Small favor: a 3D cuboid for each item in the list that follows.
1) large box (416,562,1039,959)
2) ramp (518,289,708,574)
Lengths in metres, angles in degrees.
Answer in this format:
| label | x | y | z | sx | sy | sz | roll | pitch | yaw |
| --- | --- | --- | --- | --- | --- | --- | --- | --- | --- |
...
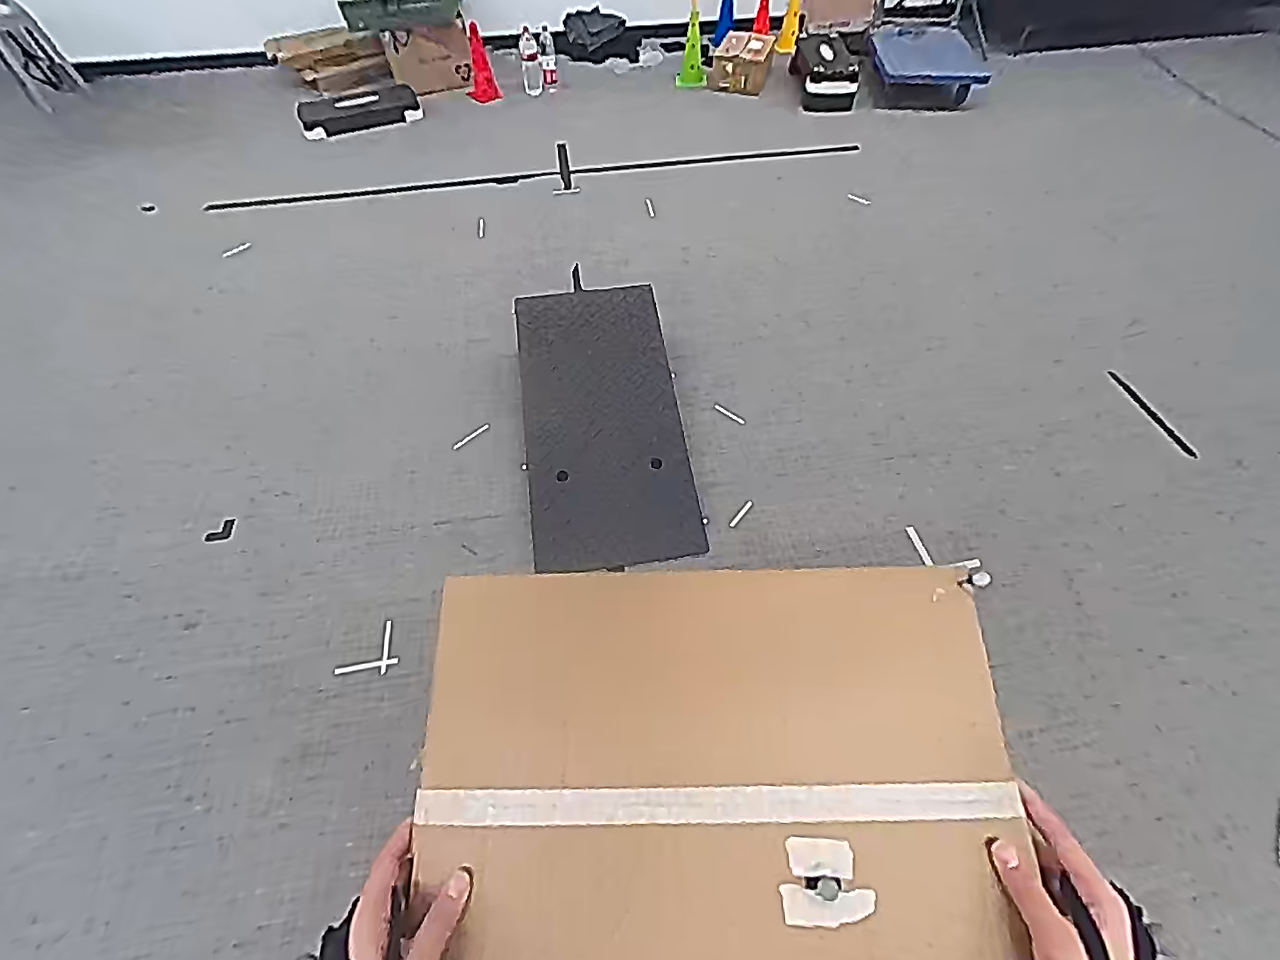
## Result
| label | x | y | z | sx | sy | sz | roll | pitch | yaw |
| --- | --- | --- | --- | --- | --- | --- | --- | --- | --- |
| large box | 0.053 | 0.267 | 0.516 | 0.408 | 0.320 | 0.320 | -2 | 71 | 1 |
| ramp | -0.115 | -0.207 | 1.720 | 0.509 | 0.206 | 0.991 | -8 | 55 | -6 |
